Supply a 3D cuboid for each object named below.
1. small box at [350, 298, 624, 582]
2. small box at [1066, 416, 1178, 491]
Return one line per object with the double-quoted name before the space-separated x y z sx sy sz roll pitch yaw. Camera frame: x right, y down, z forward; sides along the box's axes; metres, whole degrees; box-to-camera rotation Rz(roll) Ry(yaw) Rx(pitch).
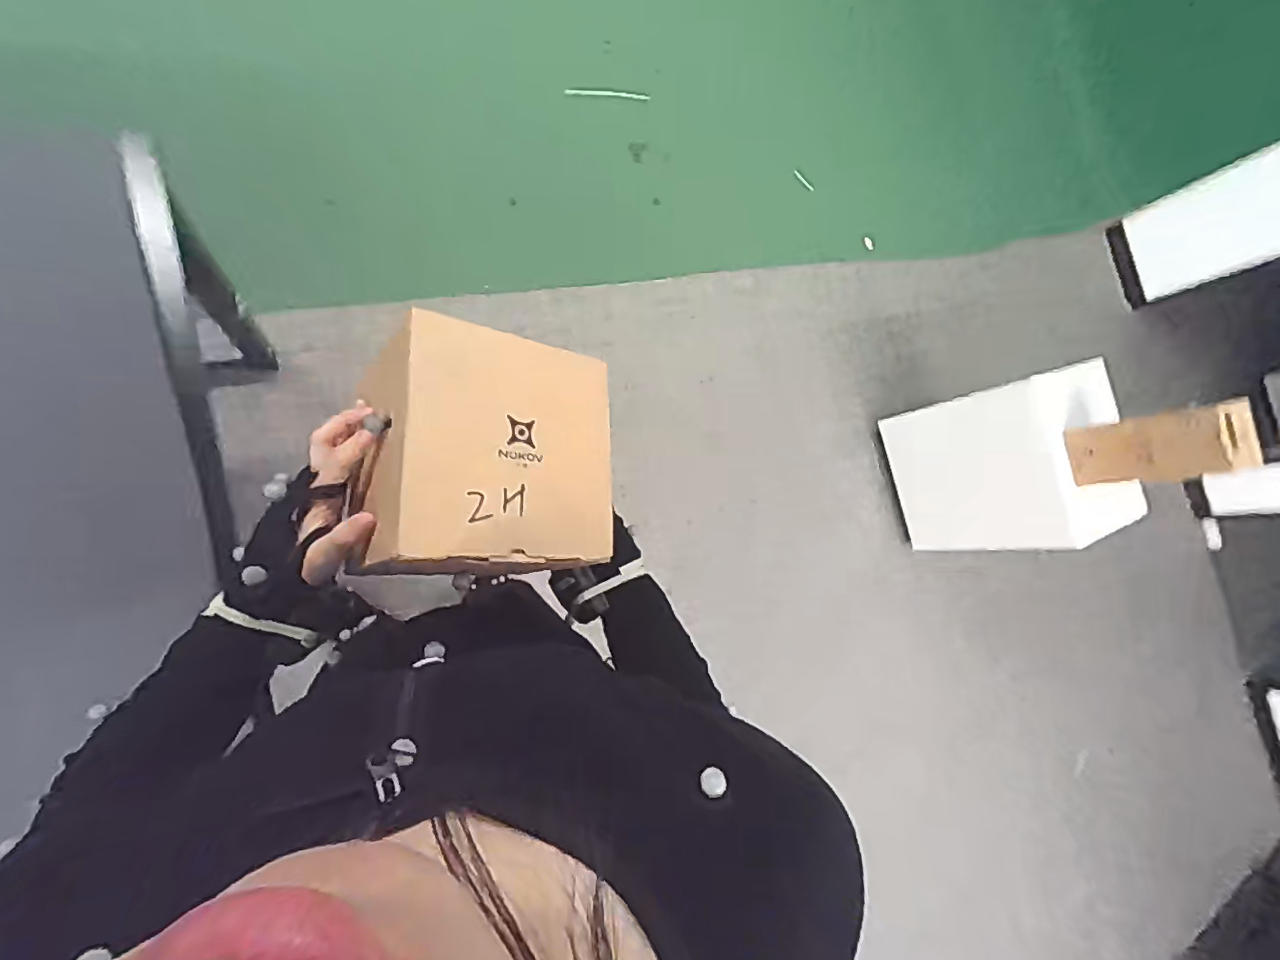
"small box" -0.130 -0.012 0.450 0.168 0.176 0.179 9 72 -37
"small box" 1.348 -0.072 1.519 0.179 0.176 0.168 -12 86 -25
